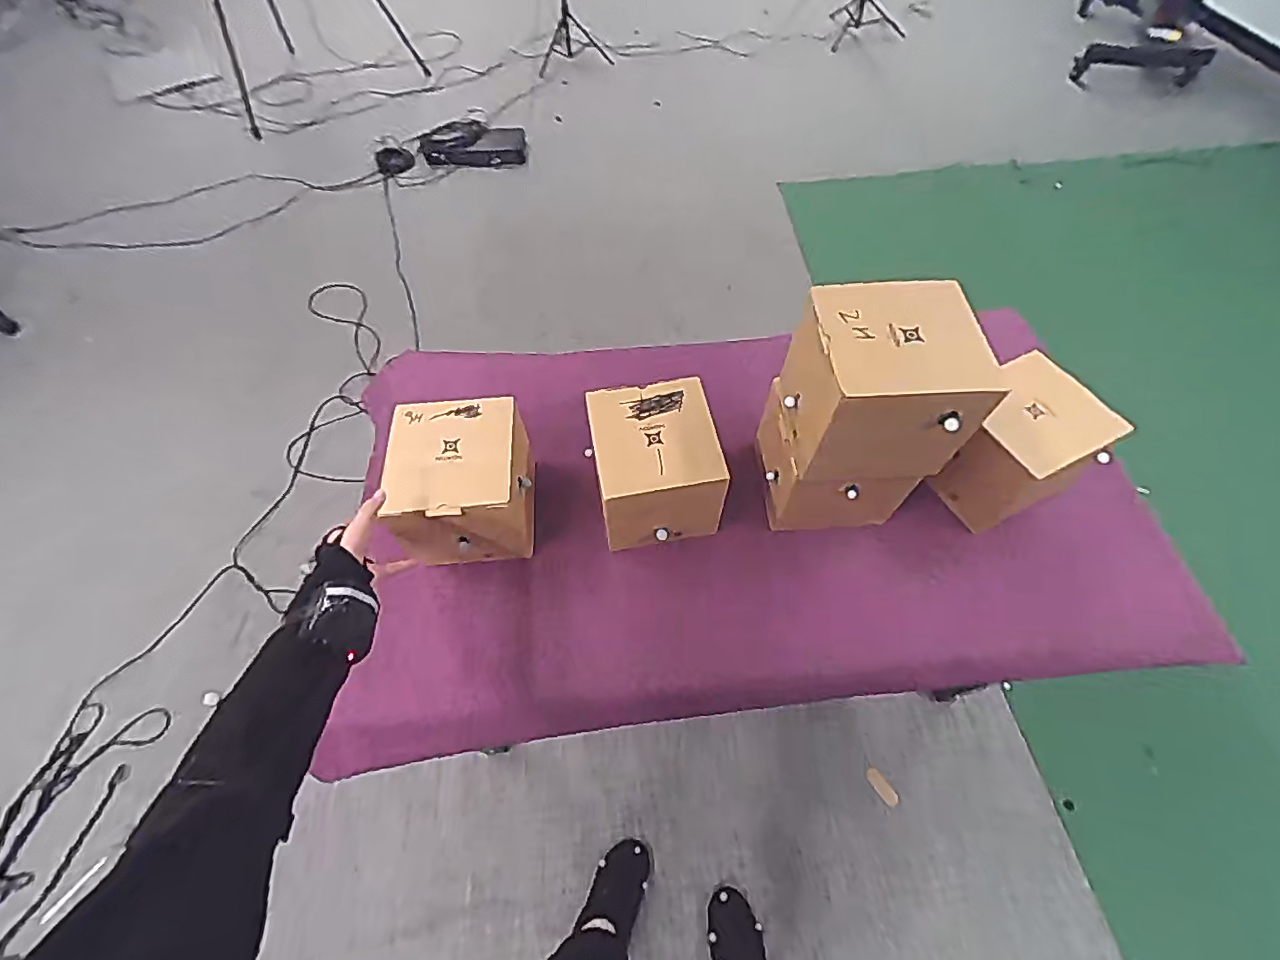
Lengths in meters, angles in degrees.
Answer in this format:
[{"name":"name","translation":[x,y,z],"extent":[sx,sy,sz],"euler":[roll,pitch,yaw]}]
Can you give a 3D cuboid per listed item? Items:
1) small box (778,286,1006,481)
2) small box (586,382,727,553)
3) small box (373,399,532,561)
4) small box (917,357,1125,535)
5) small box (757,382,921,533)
[{"name":"small box","translation":[0.281,-0.109,0.650],"extent":[0.179,0.176,0.168],"euler":[-2,59,-1]},{"name":"small box","translation":[0.016,-0.015,0.784],"extent":[0.168,0.176,0.179],"euler":[-9,60,-5]},{"name":"small box","translation":[-0.251,0.009,0.770],"extent":[0.168,0.176,0.179],"euler":[-4,59,-2]},{"name":"small box","translation":[0.534,-0.044,0.802],"extent":[0.179,0.176,0.168],"euler":[-23,61,-13]},{"name":"small box","translation":[0.275,-0.030,0.794],"extent":[0.179,0.176,0.168],"euler":[-2,59,-1]}]
